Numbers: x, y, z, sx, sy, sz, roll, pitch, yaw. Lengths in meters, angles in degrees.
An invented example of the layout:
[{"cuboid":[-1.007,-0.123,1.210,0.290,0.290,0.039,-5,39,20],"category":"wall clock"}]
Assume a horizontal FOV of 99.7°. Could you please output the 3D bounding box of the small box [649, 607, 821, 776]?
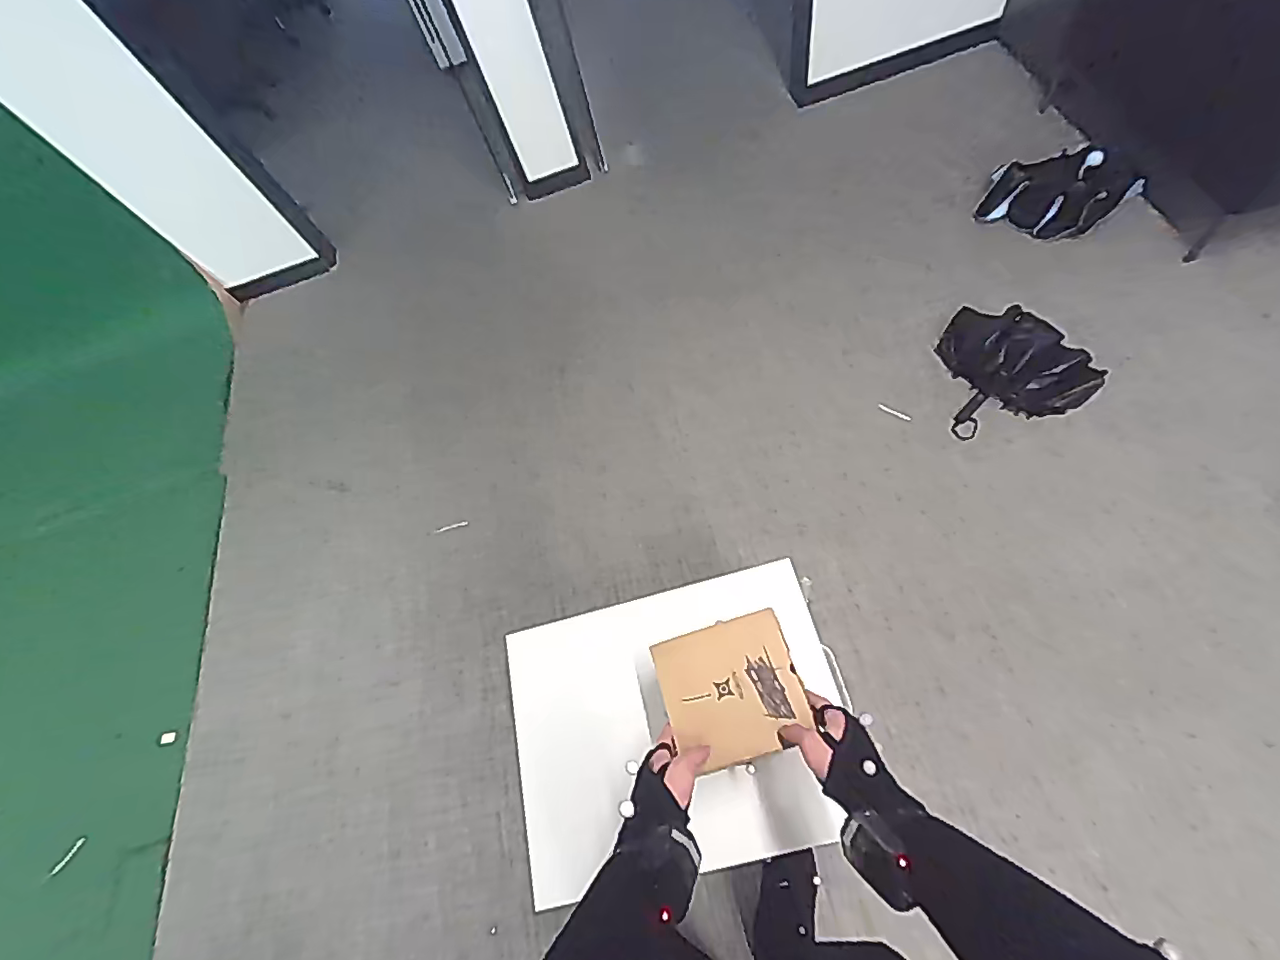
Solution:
[{"cuboid":[0.125,0.293,0.740,0.179,0.176,0.168,-17,59,3],"category":"small box"}]
